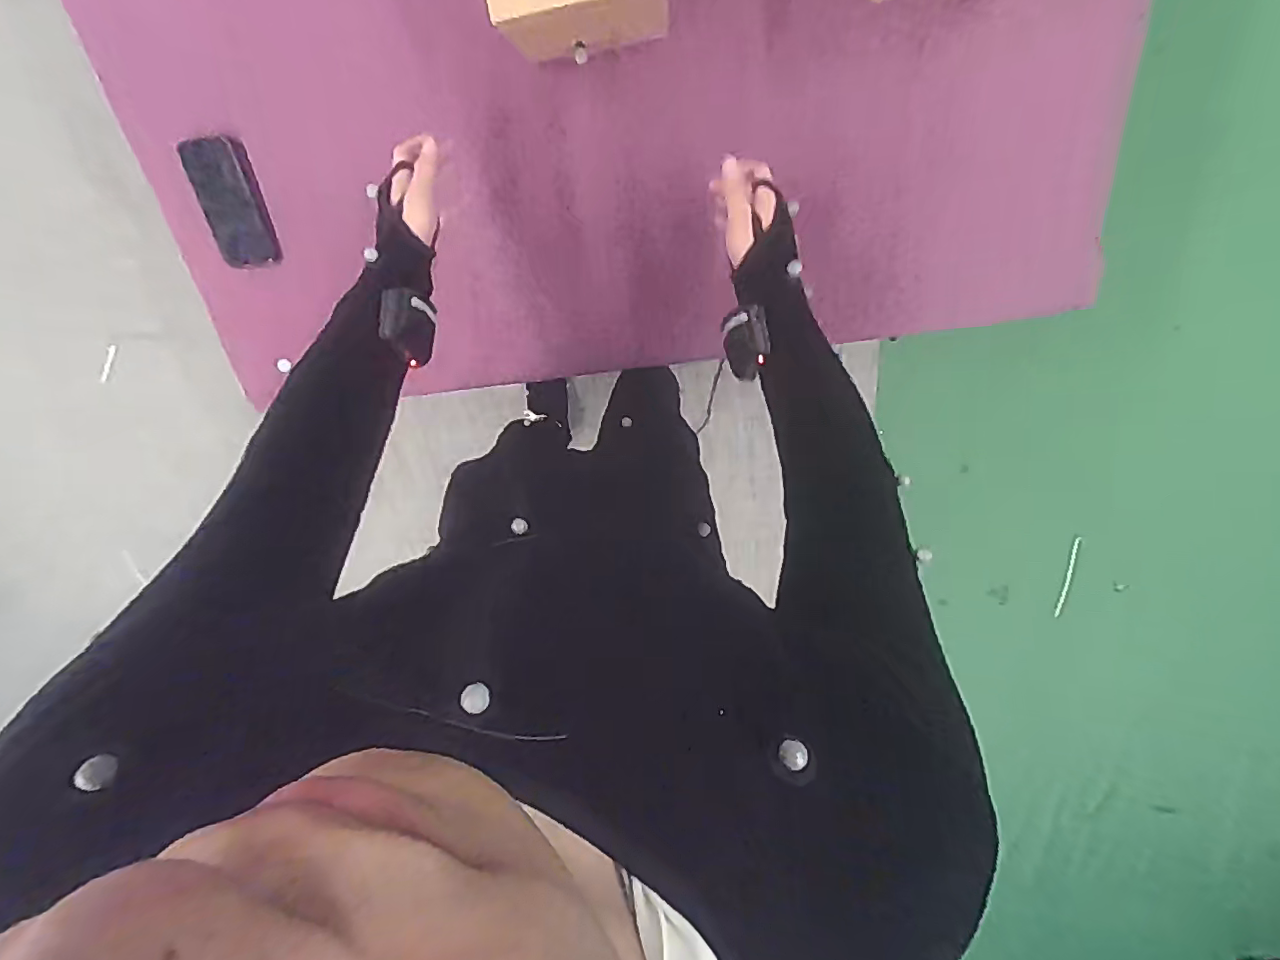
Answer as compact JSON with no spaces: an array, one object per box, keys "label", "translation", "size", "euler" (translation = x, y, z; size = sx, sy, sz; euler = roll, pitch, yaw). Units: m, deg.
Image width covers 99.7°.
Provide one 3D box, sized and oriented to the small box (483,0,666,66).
[{"label":"small box","translation":[-0.067,-0.537,0.519],"size":[0.168,0.176,0.179],"euler":[-6,116,7]}]
